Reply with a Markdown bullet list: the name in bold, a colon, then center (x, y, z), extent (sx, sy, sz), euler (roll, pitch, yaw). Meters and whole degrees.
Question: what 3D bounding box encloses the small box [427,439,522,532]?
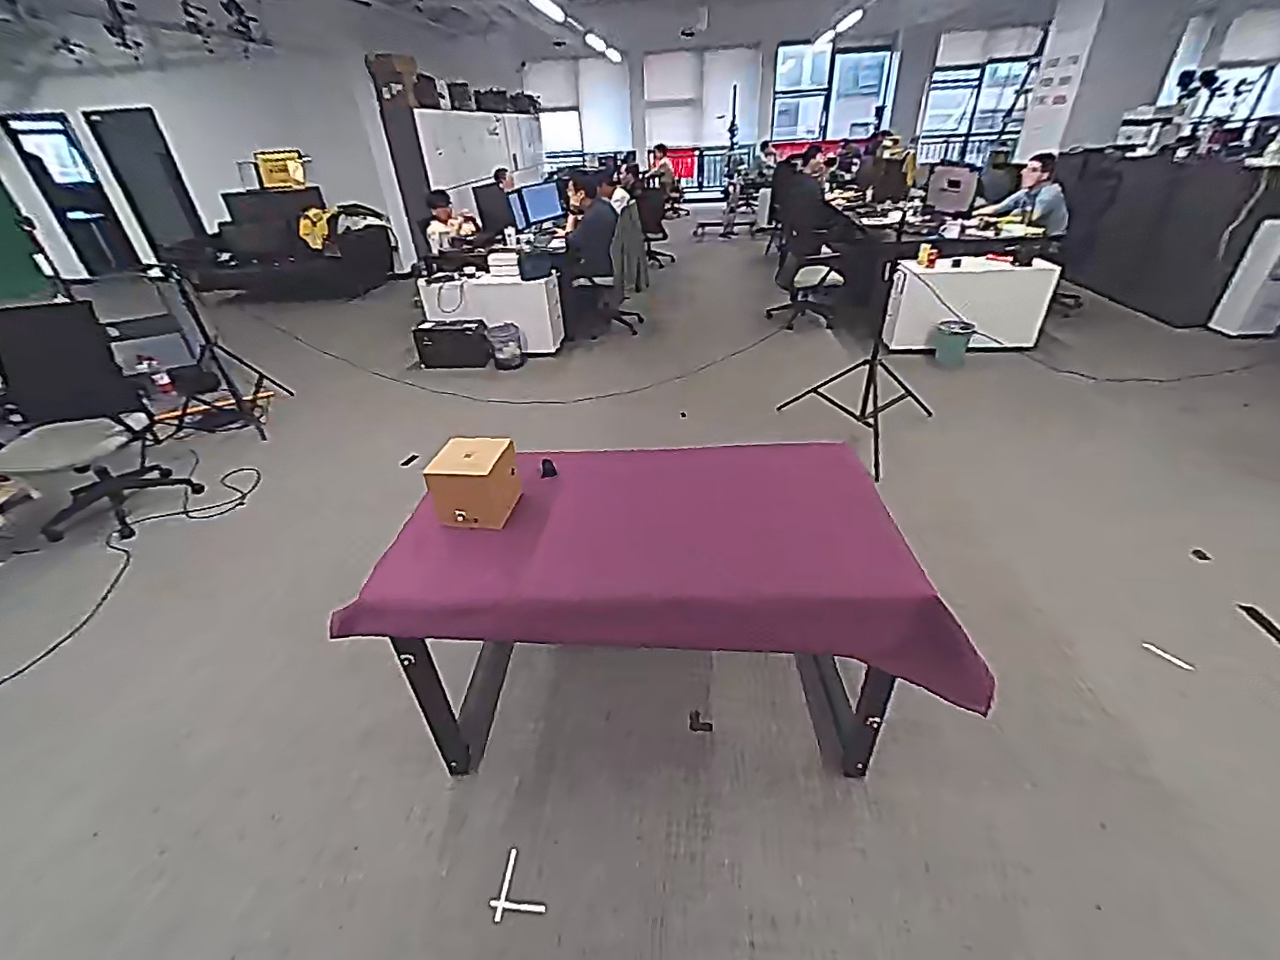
- **small box**: center (-0.410, 0.010, 1.377), extent (0.168, 0.176, 0.179), euler (1, 34, 9)
